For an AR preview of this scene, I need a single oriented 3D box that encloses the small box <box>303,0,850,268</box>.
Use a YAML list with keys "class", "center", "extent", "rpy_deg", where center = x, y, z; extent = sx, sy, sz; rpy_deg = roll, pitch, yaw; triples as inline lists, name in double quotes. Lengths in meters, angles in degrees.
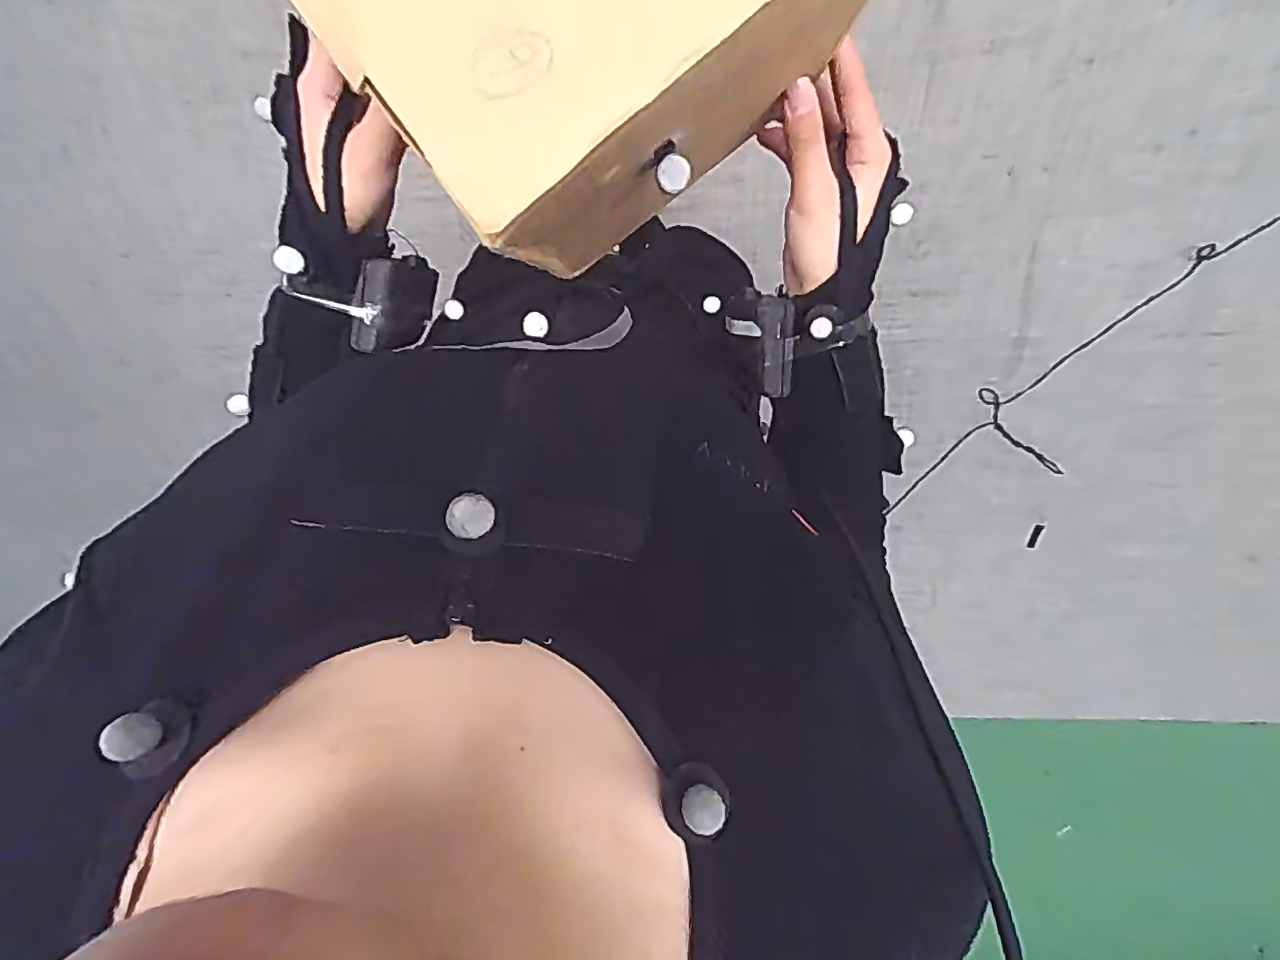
- class: "small box"
  center: [-0.023, -0.210, 0.223]
  extent: [0.179, 0.176, 0.168]
  rpy_deg: [-34, 102, 12]
